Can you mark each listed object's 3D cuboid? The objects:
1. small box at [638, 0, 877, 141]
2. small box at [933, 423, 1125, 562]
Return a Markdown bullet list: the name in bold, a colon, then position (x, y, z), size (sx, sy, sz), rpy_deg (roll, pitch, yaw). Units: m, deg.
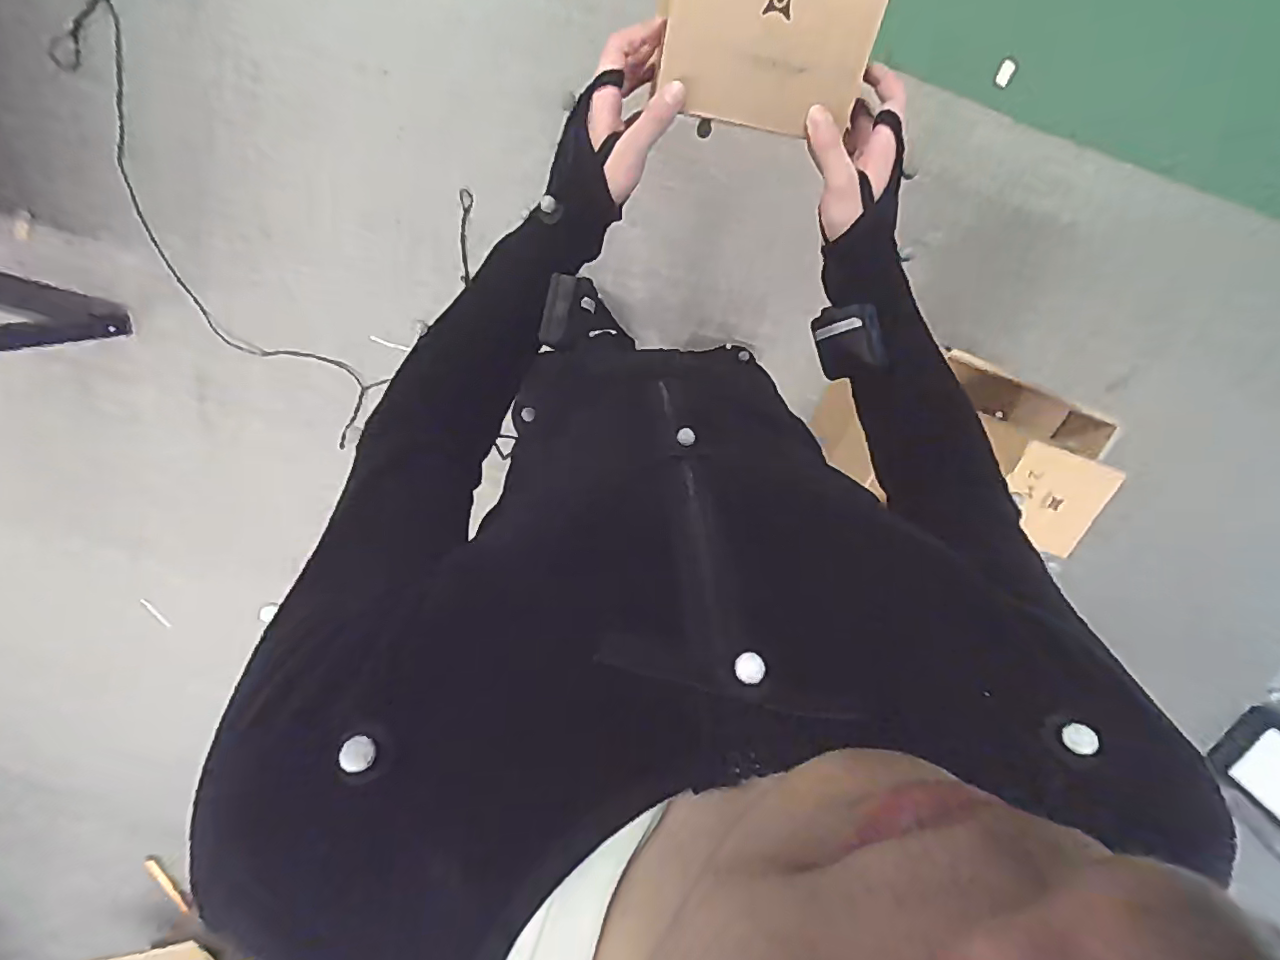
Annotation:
- **small box**: position (0.093, -0.413, 0.466), size (0.168, 0.176, 0.179), rpy_deg (6, 124, -8)
- **small box**: position (0.666, 0.014, 0.950), size (0.179, 0.176, 0.168), rpy_deg (19, 110, -5)
